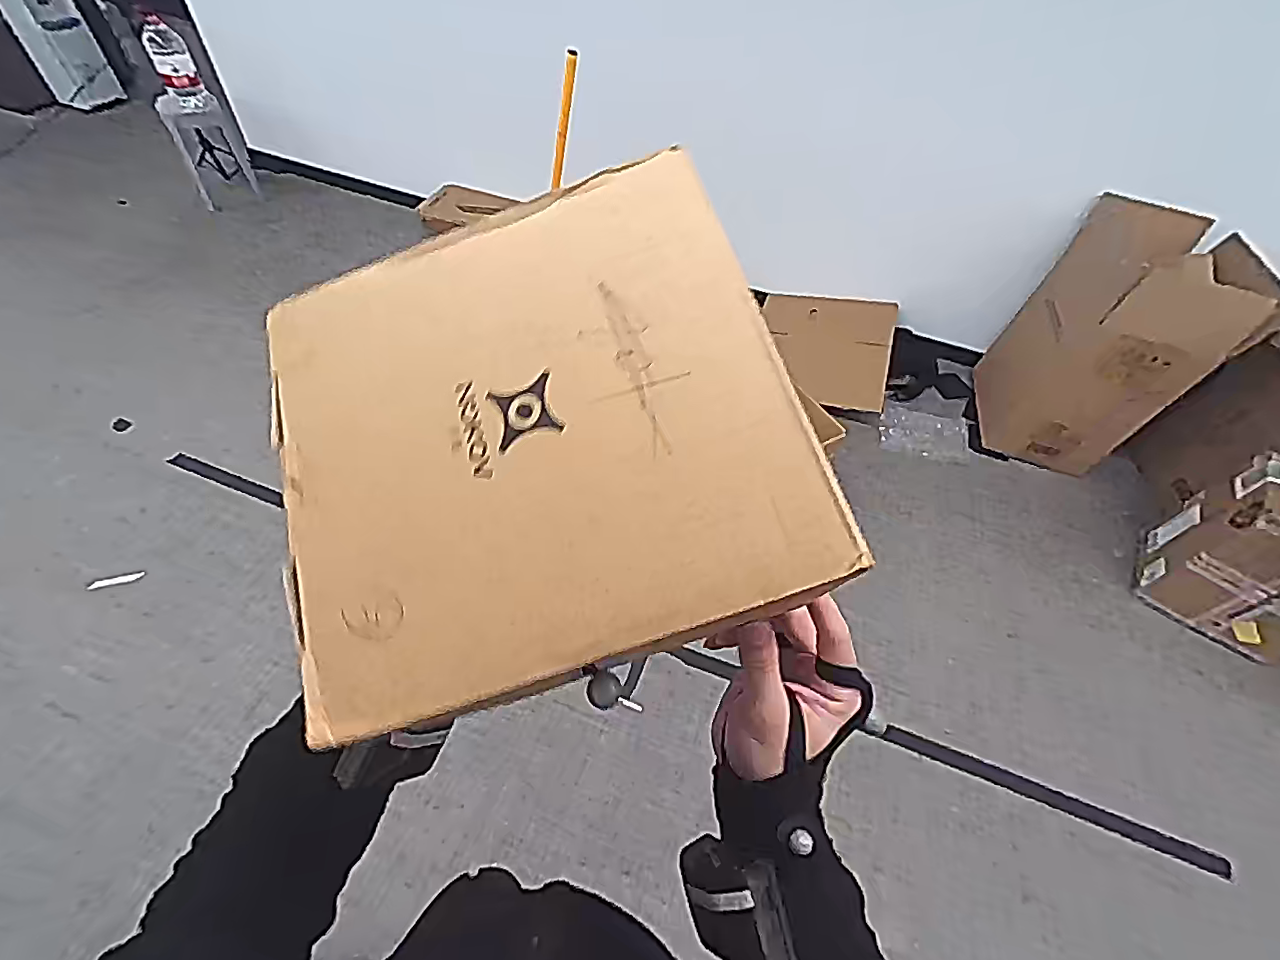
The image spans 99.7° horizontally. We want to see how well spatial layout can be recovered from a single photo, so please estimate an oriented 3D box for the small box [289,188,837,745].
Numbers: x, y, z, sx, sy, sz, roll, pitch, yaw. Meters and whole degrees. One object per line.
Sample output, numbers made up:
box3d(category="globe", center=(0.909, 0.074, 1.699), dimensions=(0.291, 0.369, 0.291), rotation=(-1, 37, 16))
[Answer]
box3d(category="small box", center=(-0.028, 0.008, 0.271), dimensions=(0.179, 0.176, 0.168), rotation=(-22, 72, 4))
